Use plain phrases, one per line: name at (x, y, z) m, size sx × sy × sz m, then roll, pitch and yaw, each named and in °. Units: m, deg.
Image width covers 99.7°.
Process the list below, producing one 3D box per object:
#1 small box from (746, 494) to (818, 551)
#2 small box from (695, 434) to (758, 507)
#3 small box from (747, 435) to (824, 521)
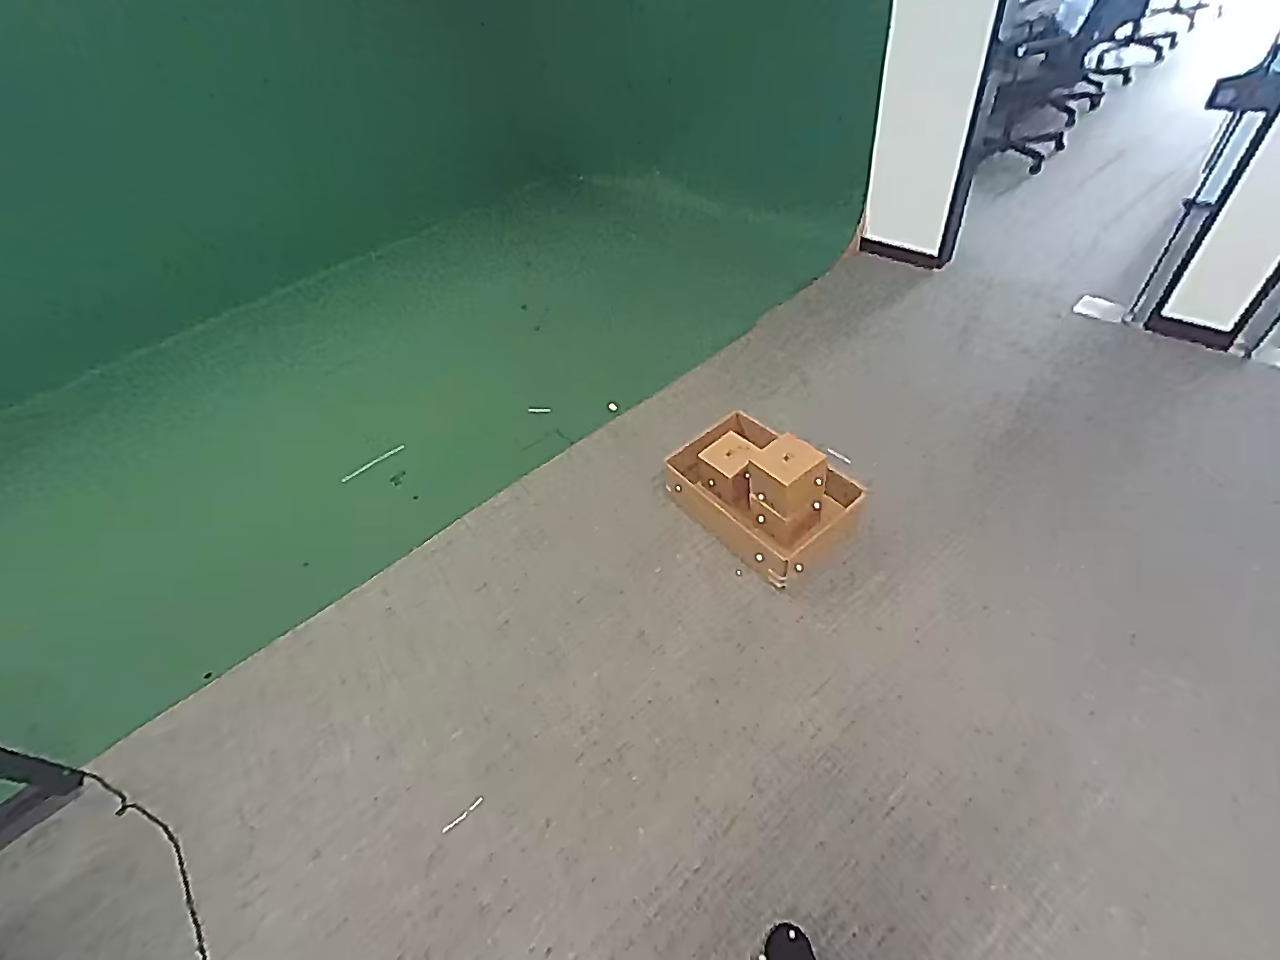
small box at (0.482, 0.107, 1.839) m, size 0.179 × 0.176 × 0.168 m, roll -34°, pitch 50°, yaw -19°
small box at (0.327, -0.031, 1.996) m, size 0.179 × 0.176 × 0.168 m, roll -35°, pitch 51°, yaw -19°
small box at (0.460, -0.005, 1.723) m, size 0.179 × 0.176 × 0.168 m, roll -34°, pitch 48°, yaw -17°
